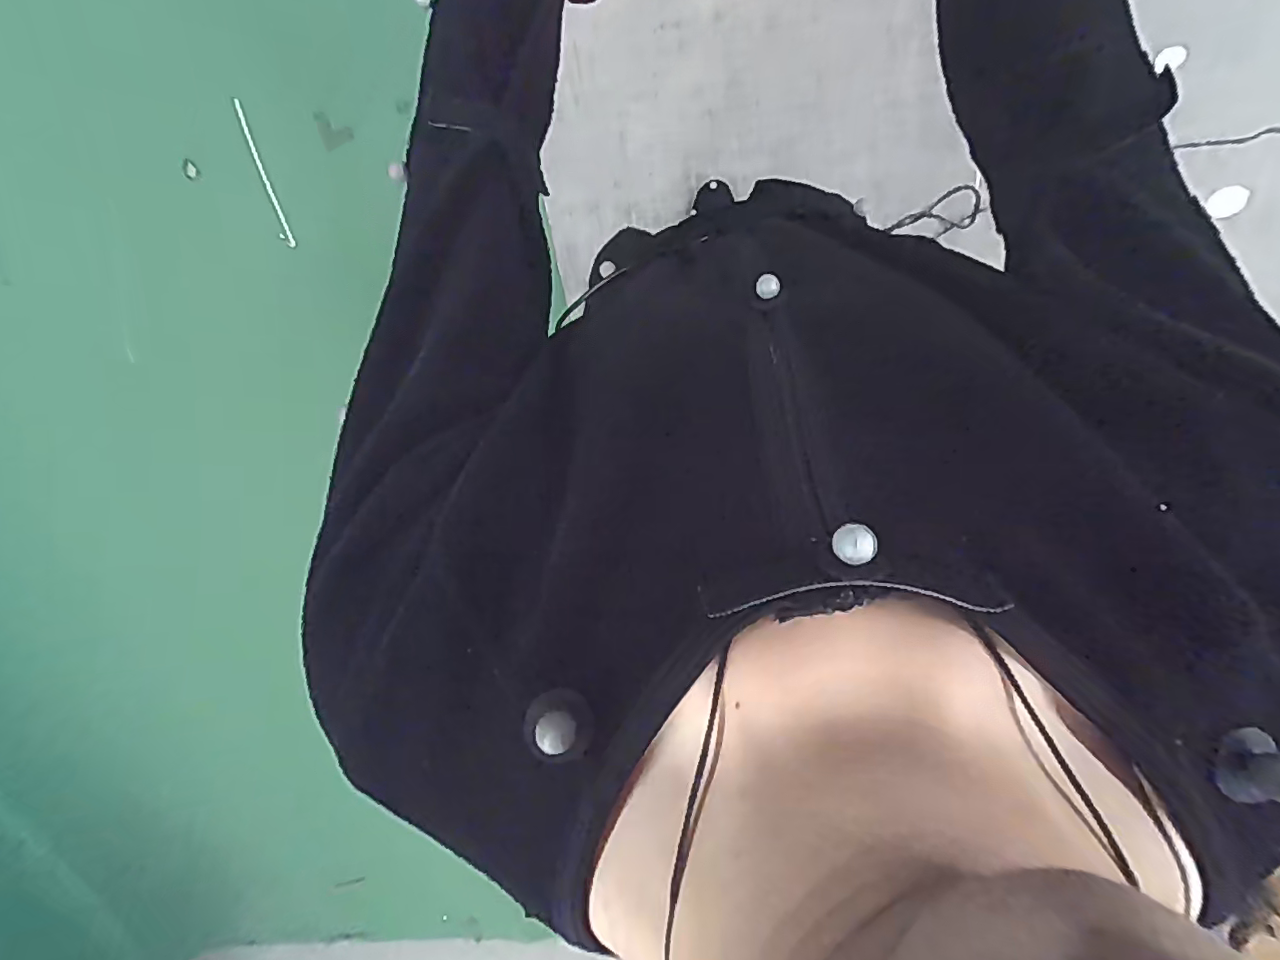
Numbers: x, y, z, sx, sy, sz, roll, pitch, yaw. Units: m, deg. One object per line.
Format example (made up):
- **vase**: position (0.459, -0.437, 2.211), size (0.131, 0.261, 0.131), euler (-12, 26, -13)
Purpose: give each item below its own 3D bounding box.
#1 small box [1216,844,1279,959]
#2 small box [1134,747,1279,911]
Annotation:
- **small box**: position (0.978, 0.638, 0.755), size (0.179, 0.176, 0.168), euler (-13, 112, 9)
- **small box**: position (0.994, 0.574, 0.903), size (0.179, 0.176, 0.168), euler (-11, 113, 9)
